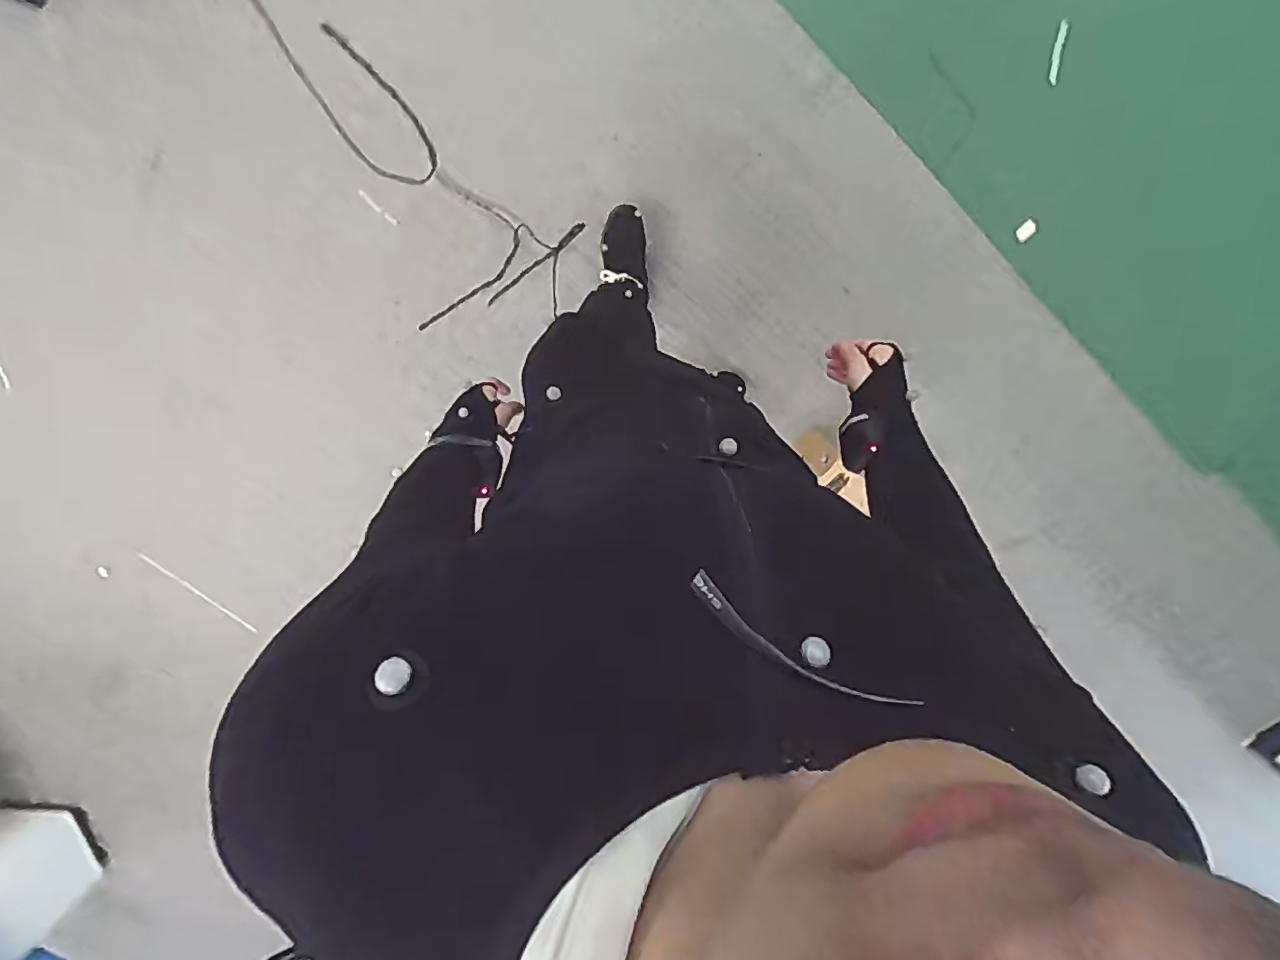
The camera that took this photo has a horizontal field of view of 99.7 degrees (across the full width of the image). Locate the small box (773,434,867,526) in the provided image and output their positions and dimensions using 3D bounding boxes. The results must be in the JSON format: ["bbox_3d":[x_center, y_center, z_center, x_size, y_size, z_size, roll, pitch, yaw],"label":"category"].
[{"bbox_3d":[0.500,-0.008,1.539,0.168,0.176,0.179,41,107,-9],"label":"small box"}]
